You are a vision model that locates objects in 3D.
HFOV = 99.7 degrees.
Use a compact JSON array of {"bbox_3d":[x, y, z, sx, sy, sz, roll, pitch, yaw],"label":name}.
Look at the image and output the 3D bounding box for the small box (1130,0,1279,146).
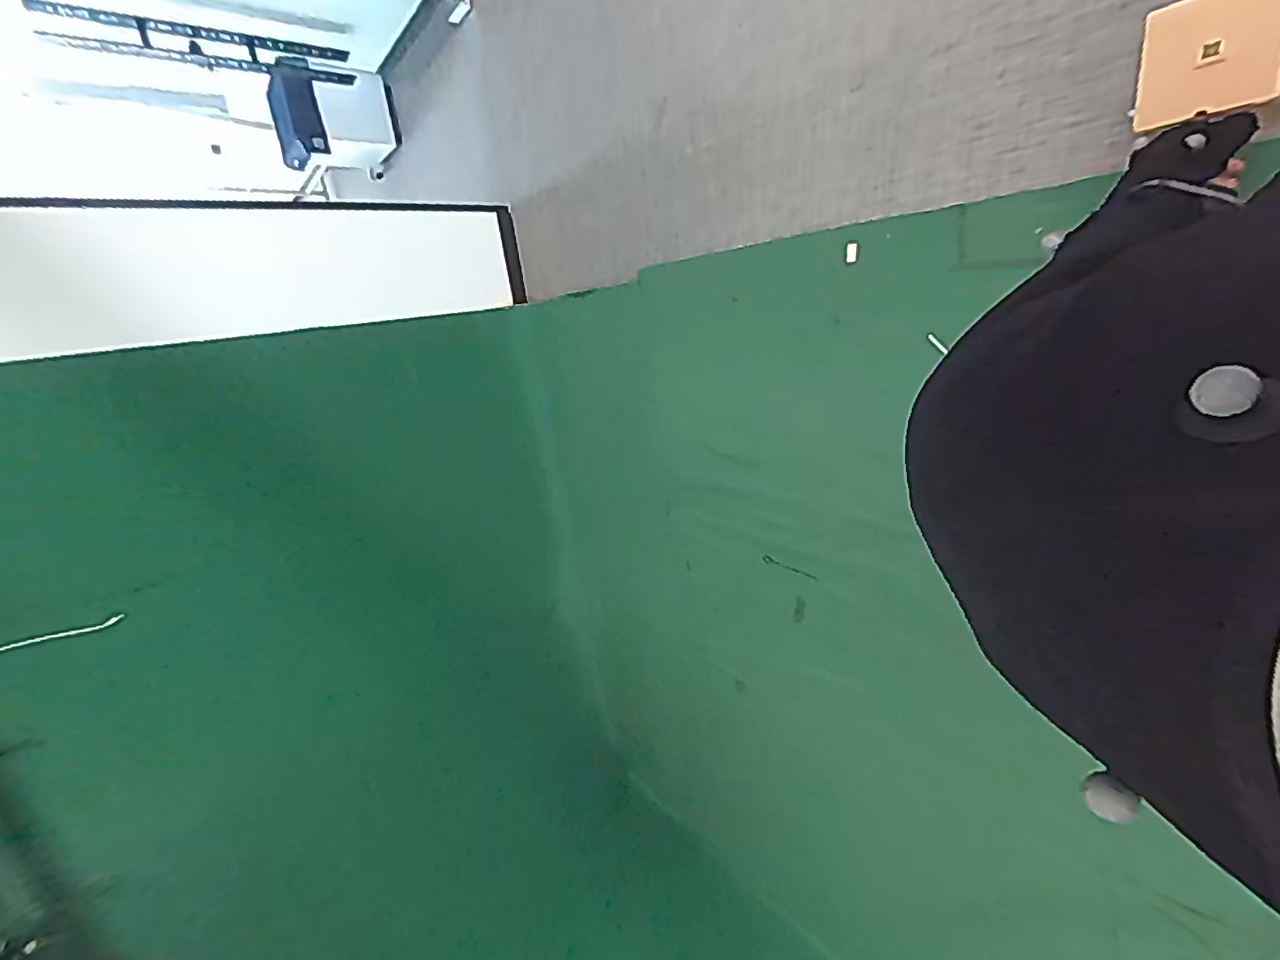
[{"bbox_3d":[0.944,-0.679,0.892,0.168,0.176,0.179,12,116,49],"label":"small box"}]
